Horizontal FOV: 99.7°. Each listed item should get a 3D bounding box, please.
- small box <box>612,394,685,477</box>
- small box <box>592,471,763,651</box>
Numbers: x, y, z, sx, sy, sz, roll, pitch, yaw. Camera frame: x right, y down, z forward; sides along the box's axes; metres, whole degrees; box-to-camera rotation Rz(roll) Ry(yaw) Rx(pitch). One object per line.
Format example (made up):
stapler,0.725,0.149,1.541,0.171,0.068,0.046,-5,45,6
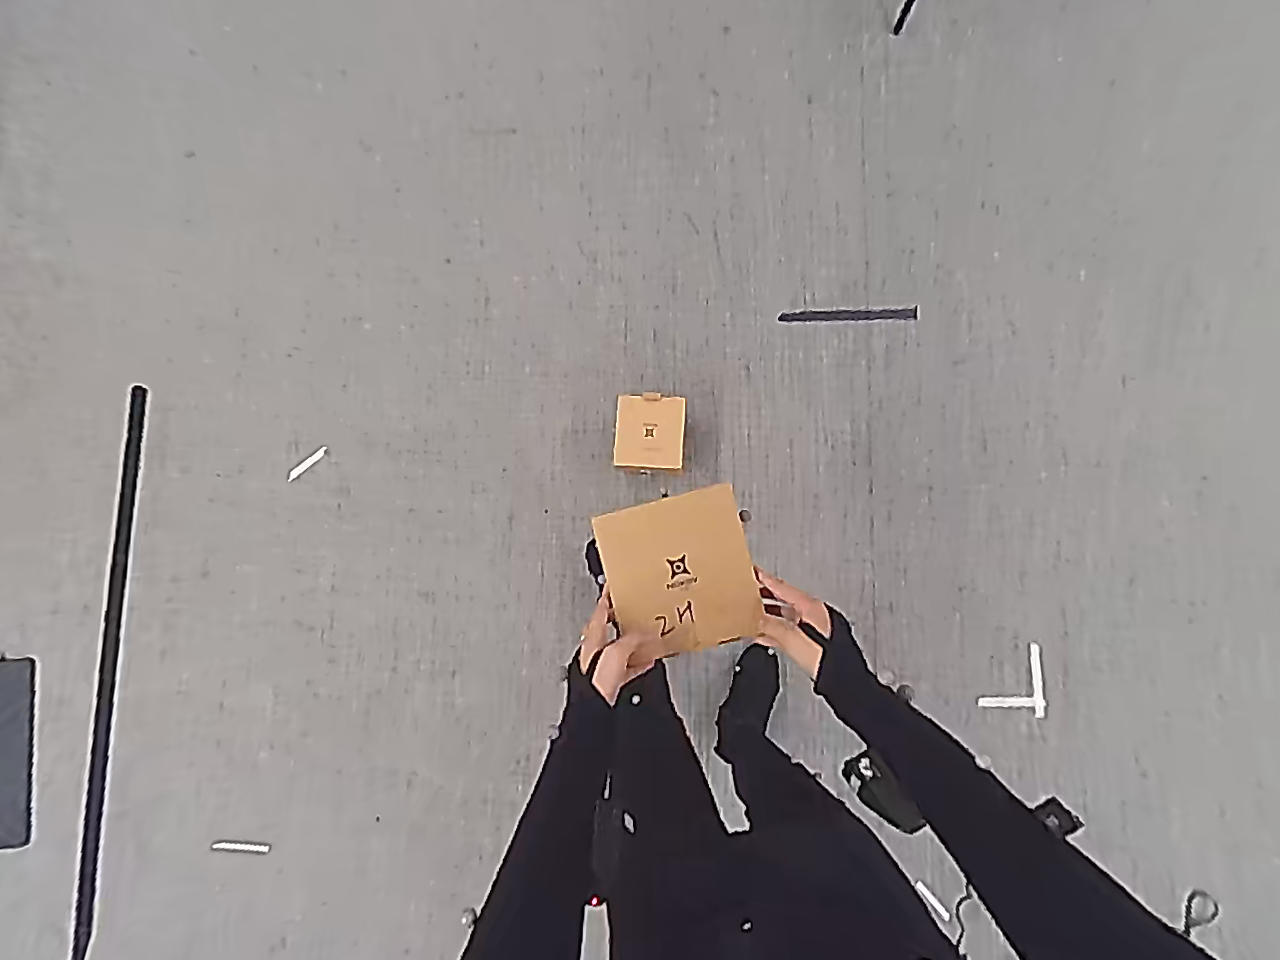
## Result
small box,0.026,-0.107,1.364,0.168,0.176,0.179,3,84,6
small box,0.044,0.097,0.692,0.168,0.176,0.179,-14,87,3
